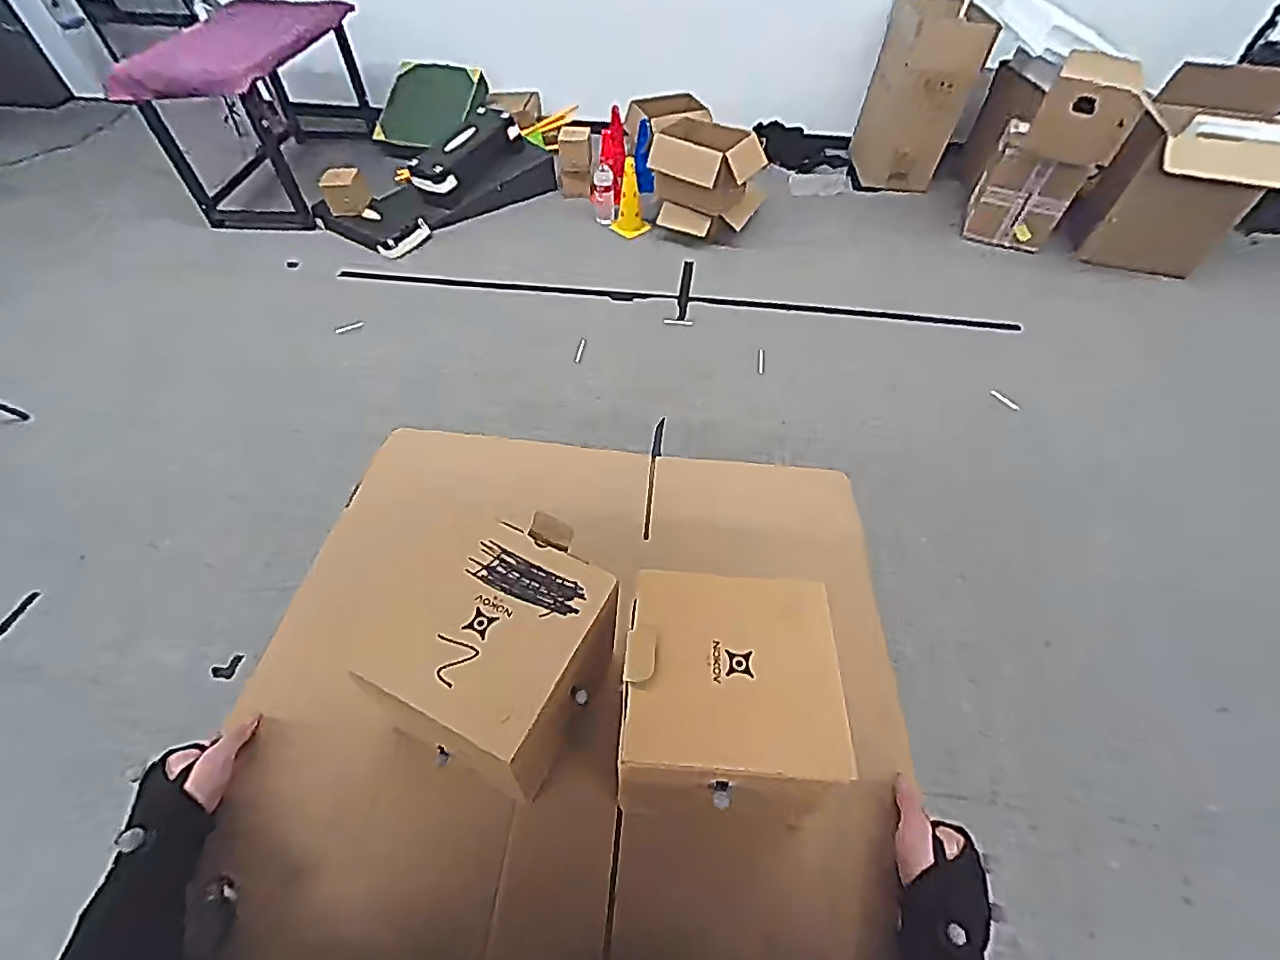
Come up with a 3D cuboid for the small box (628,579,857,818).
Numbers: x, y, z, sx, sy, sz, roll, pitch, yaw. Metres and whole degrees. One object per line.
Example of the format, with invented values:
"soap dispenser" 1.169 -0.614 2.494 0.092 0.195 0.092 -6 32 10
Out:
"small box" 0.082 0.213 0.520 0.179 0.176 0.168 3 49 2
